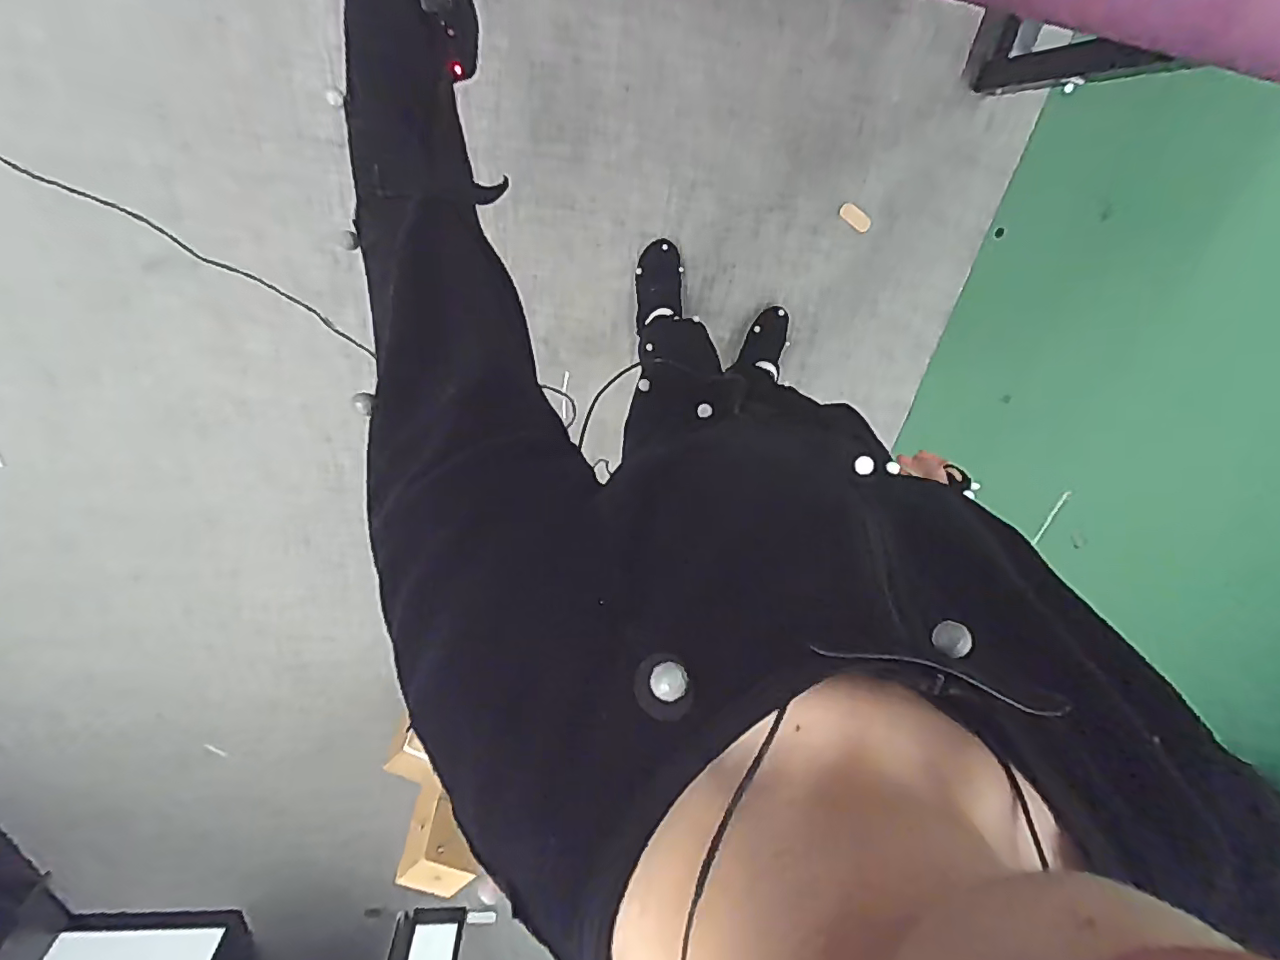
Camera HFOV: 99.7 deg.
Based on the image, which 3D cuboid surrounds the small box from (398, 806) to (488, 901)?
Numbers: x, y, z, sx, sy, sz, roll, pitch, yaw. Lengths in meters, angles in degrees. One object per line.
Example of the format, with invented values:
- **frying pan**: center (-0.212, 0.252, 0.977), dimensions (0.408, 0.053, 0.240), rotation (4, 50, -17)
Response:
- **small box**: center (-0.581, 1.114, 1.620), dimensions (0.179, 0.176, 0.168), rotation (35, 113, -20)

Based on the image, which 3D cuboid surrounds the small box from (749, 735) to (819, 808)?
- **small box**: center (0.471, 0.969, 1.791), dimensions (0.179, 0.176, 0.168), rotation (-4, 120, -1)
